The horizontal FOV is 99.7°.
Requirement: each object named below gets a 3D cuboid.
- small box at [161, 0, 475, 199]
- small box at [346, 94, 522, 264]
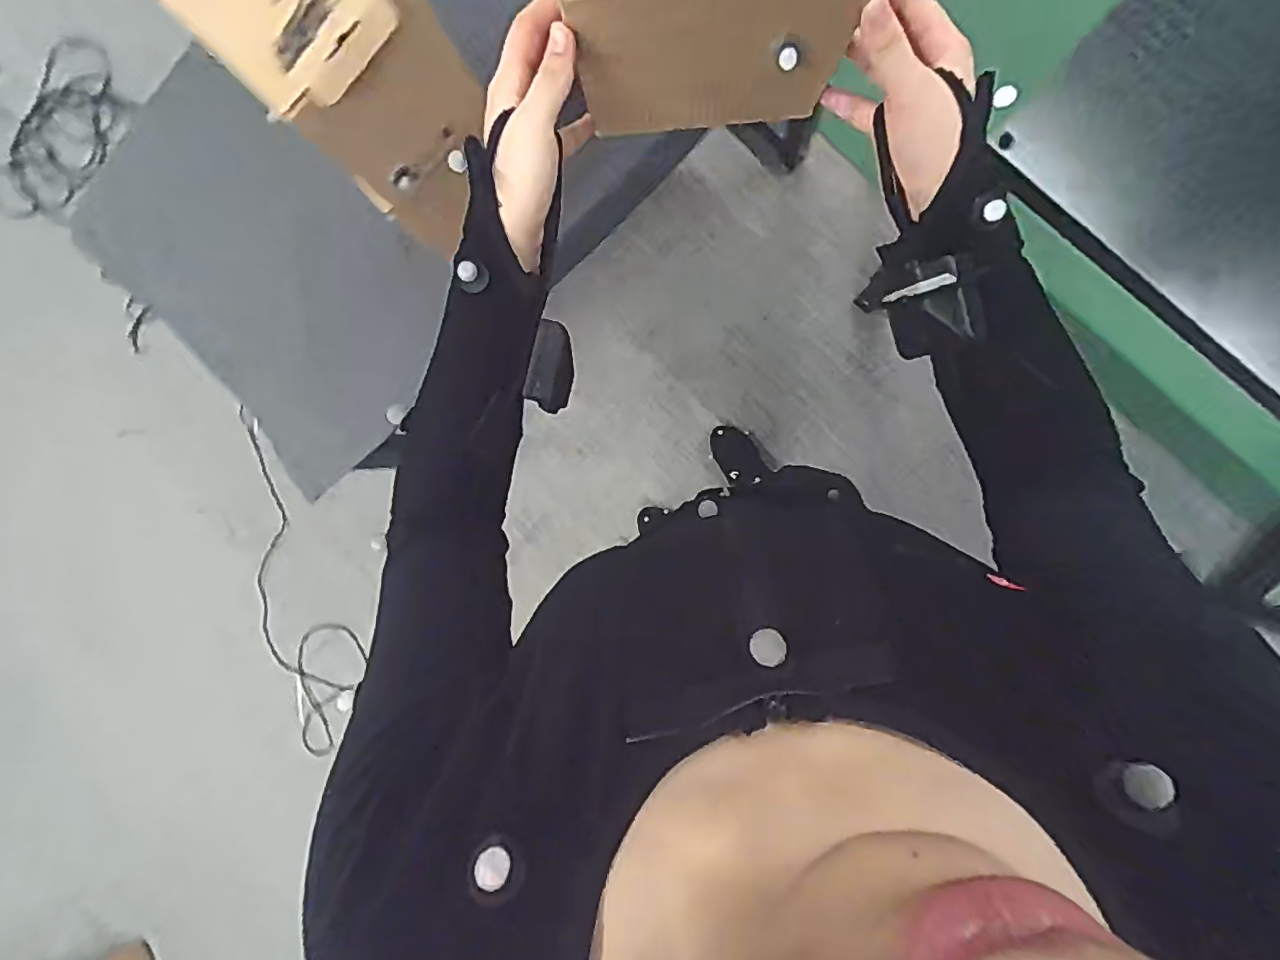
[{"bbox_3d":[-0.304,-0.424,0.548,0.179,0.176,0.168,43,96,7],"label":"small box"},{"bbox_3d":[-0.279,-0.426,0.712,0.179,0.176,0.168,-44,85,8],"label":"small box"}]
